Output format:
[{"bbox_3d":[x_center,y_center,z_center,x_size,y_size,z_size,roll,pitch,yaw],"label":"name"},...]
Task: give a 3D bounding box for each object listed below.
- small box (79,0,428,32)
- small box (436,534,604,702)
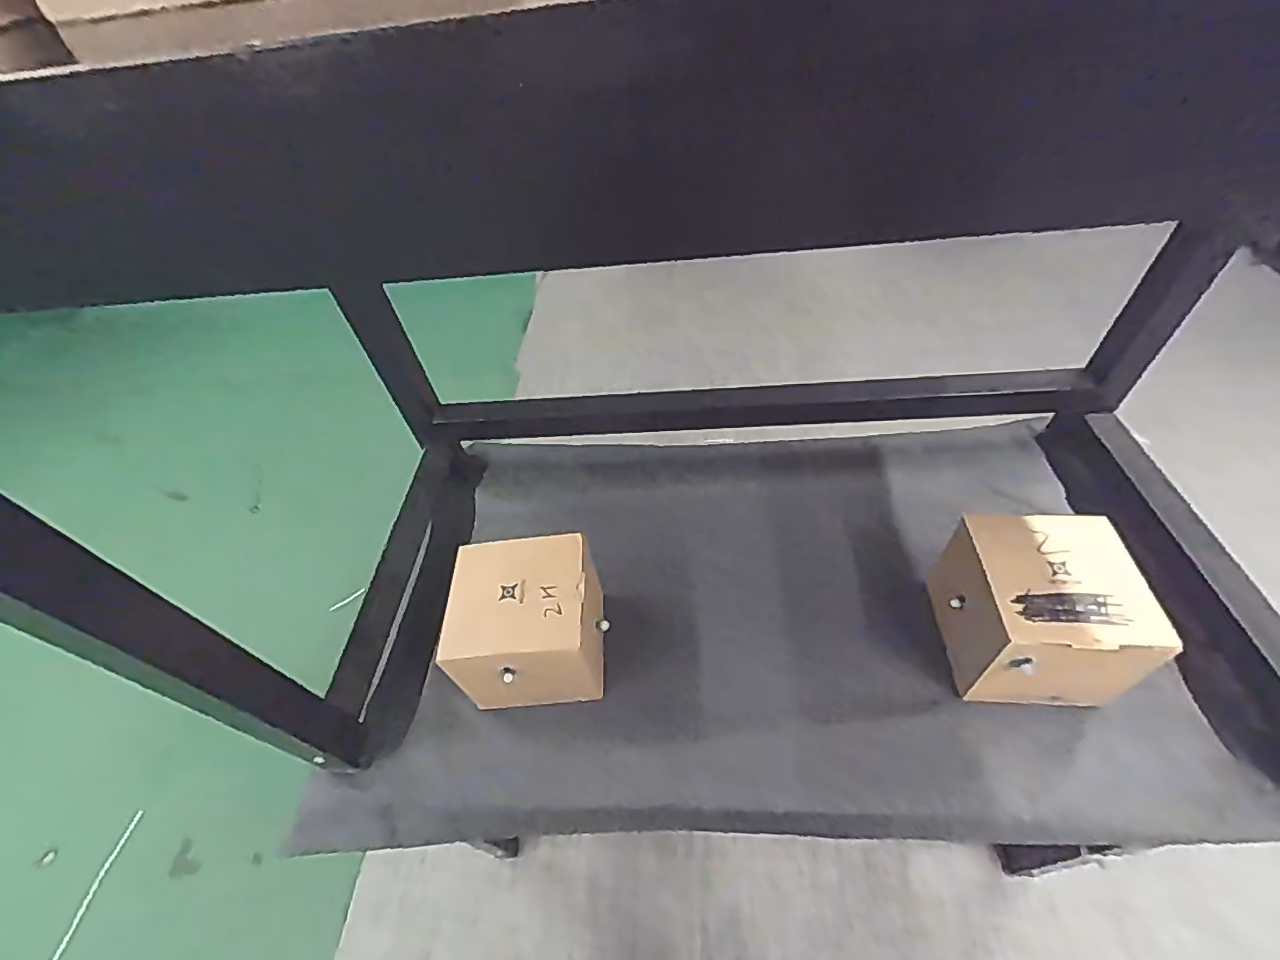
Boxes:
[{"bbox_3d":[-0.130,-0.272,0.178,0.168,0.176,0.179,-3,48,5],"label":"small box"},{"bbox_3d":[-0.151,0.195,0.746,0.179,0.176,0.168,-5,49,3],"label":"small box"}]
